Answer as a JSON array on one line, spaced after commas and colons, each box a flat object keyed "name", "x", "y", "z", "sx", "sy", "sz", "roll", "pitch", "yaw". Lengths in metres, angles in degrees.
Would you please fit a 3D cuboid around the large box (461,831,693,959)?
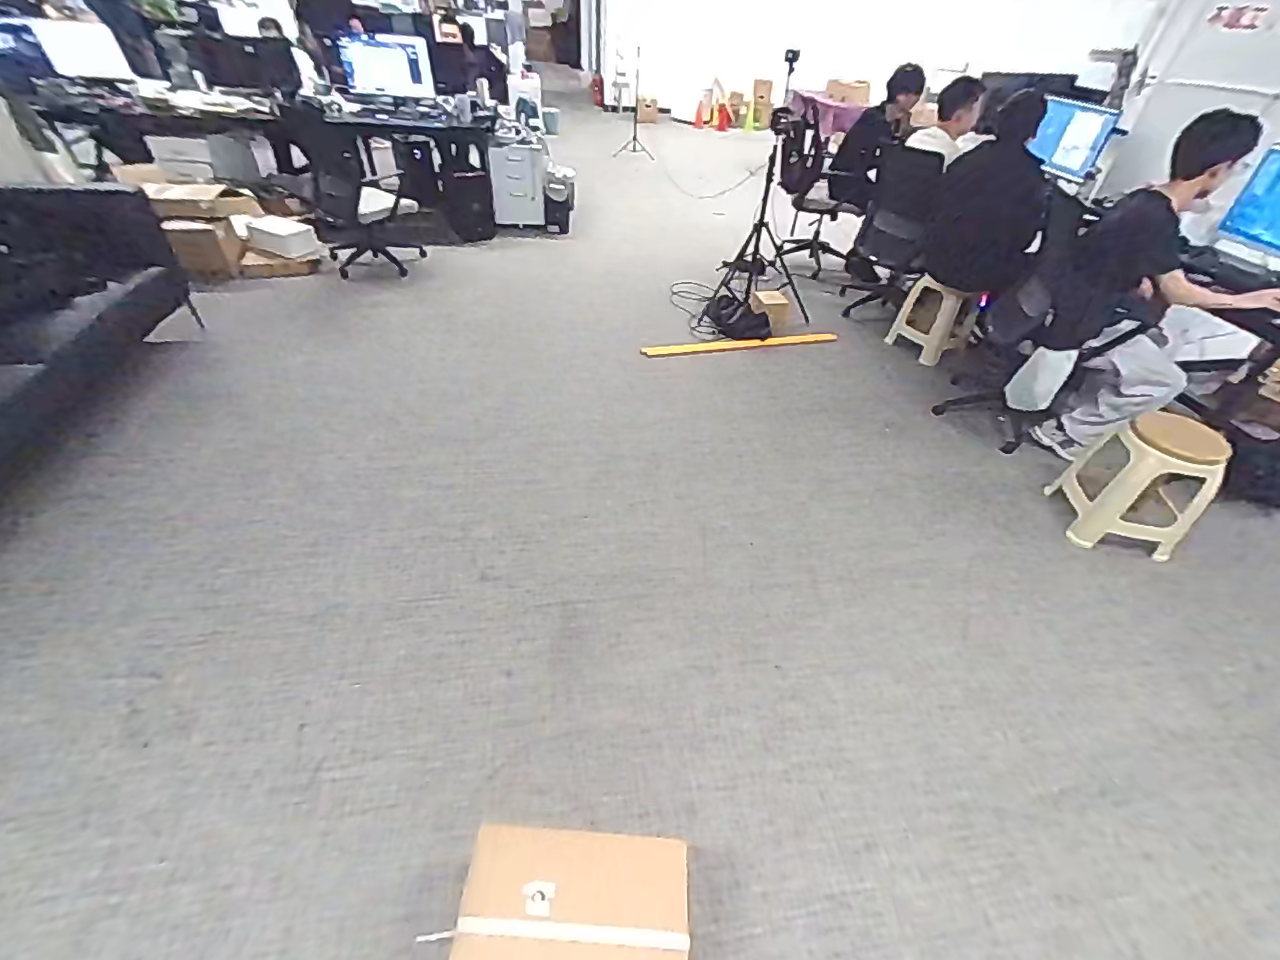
[{"name": "large box", "x": -0.107, "y": 0.909, "z": 1.048, "sx": 0.408, "sy": 0.320, "sz": 0.320, "roll": 3, "pitch": 42, "yaw": 2}]
